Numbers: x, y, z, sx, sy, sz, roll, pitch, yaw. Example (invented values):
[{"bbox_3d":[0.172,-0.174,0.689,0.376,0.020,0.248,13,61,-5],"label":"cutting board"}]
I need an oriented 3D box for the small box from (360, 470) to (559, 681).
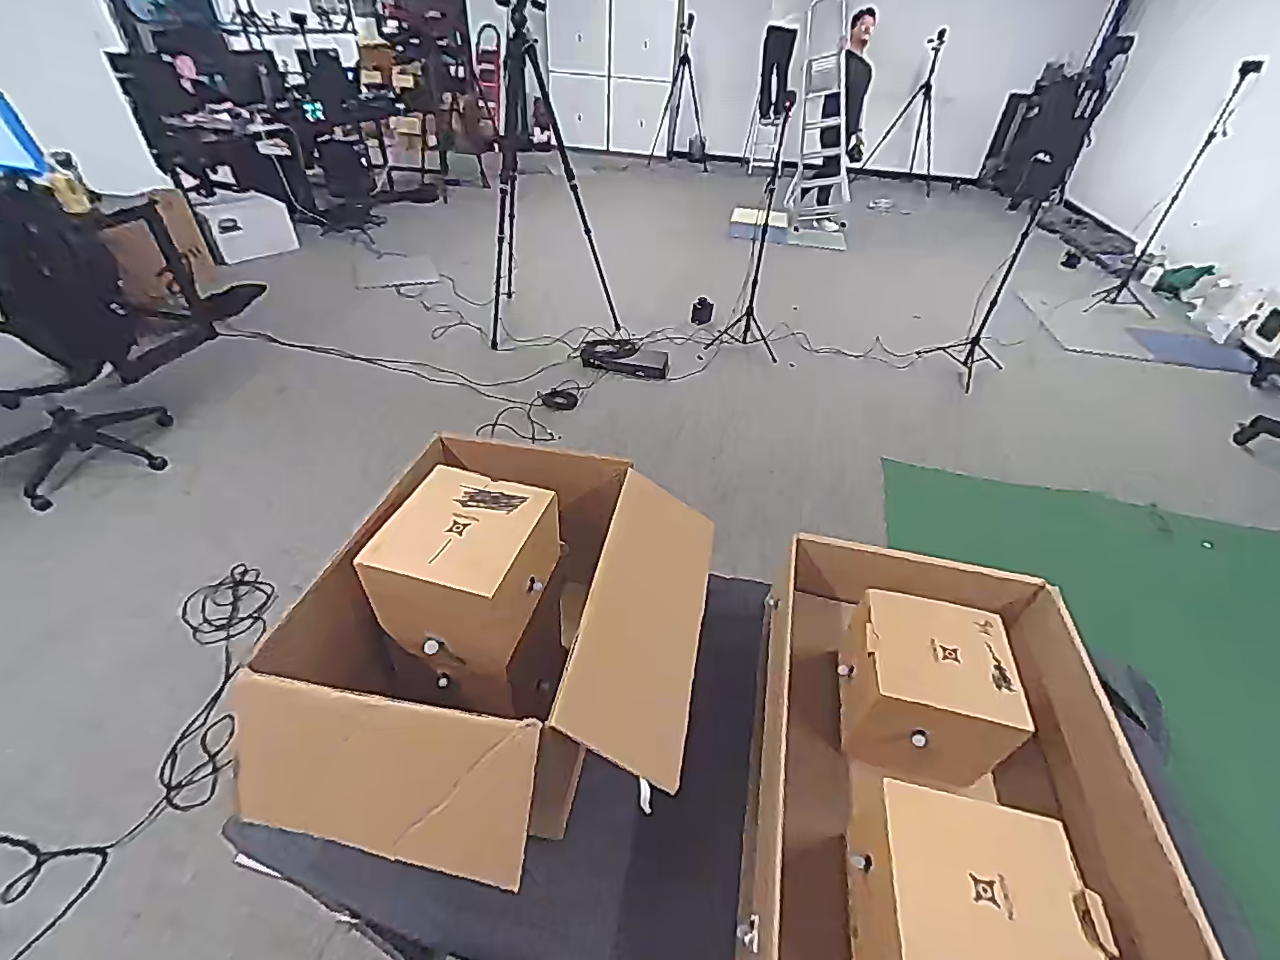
[{"bbox_3d":[-0.209,0.118,0.683,0.168,0.176,0.179,13,42,9],"label":"small box"}]
